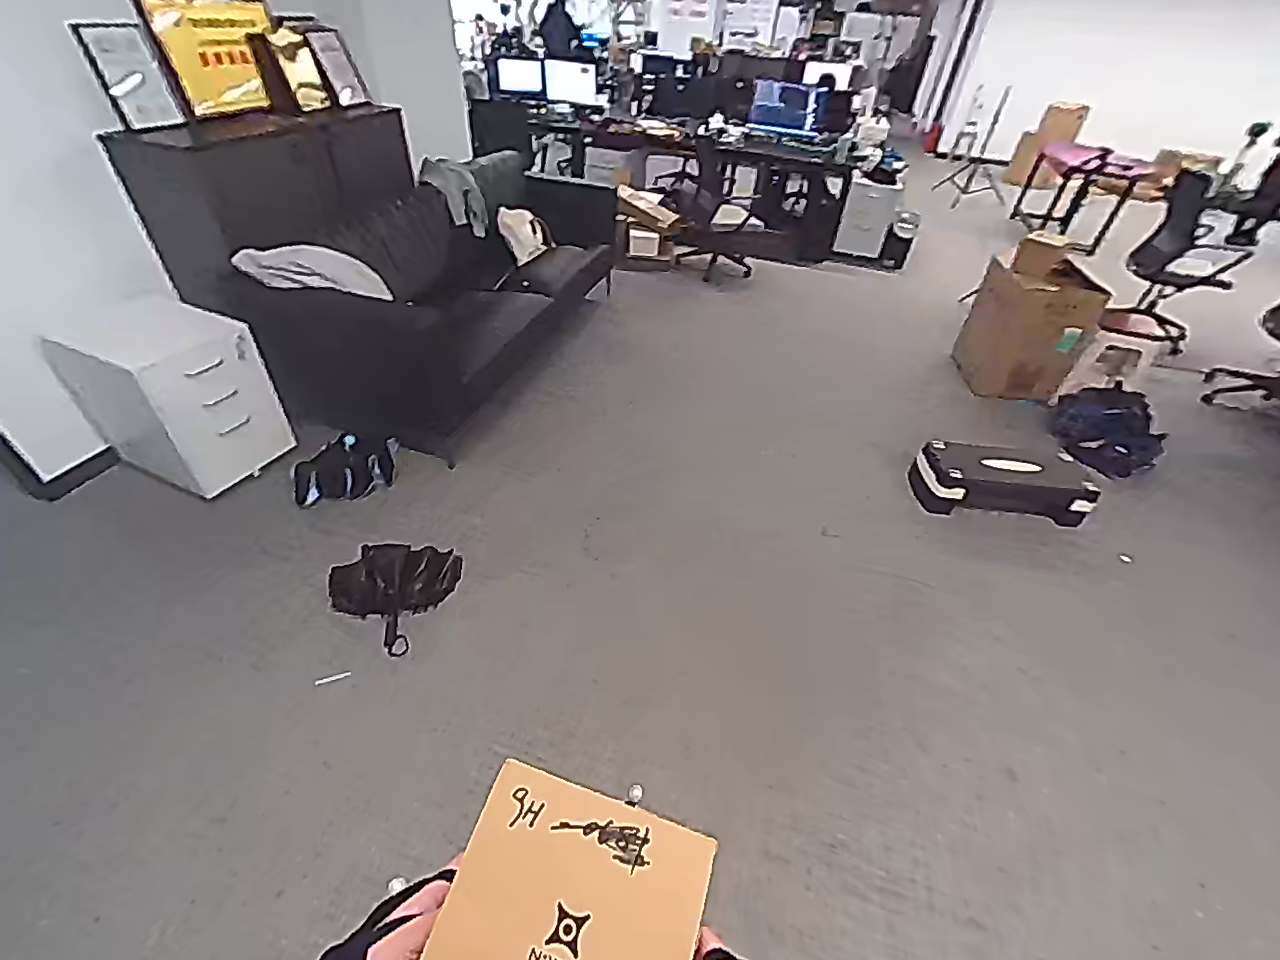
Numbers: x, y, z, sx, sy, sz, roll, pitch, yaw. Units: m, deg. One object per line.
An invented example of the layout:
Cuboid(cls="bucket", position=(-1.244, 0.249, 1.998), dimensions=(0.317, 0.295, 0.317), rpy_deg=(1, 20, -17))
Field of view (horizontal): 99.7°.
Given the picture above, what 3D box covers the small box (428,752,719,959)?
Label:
Cuboid(cls="small box", position=(-0.047, 0.339, 0.423), dimensions=(0.168, 0.176, 0.179), rpy_deg=(17, 60, 8))
